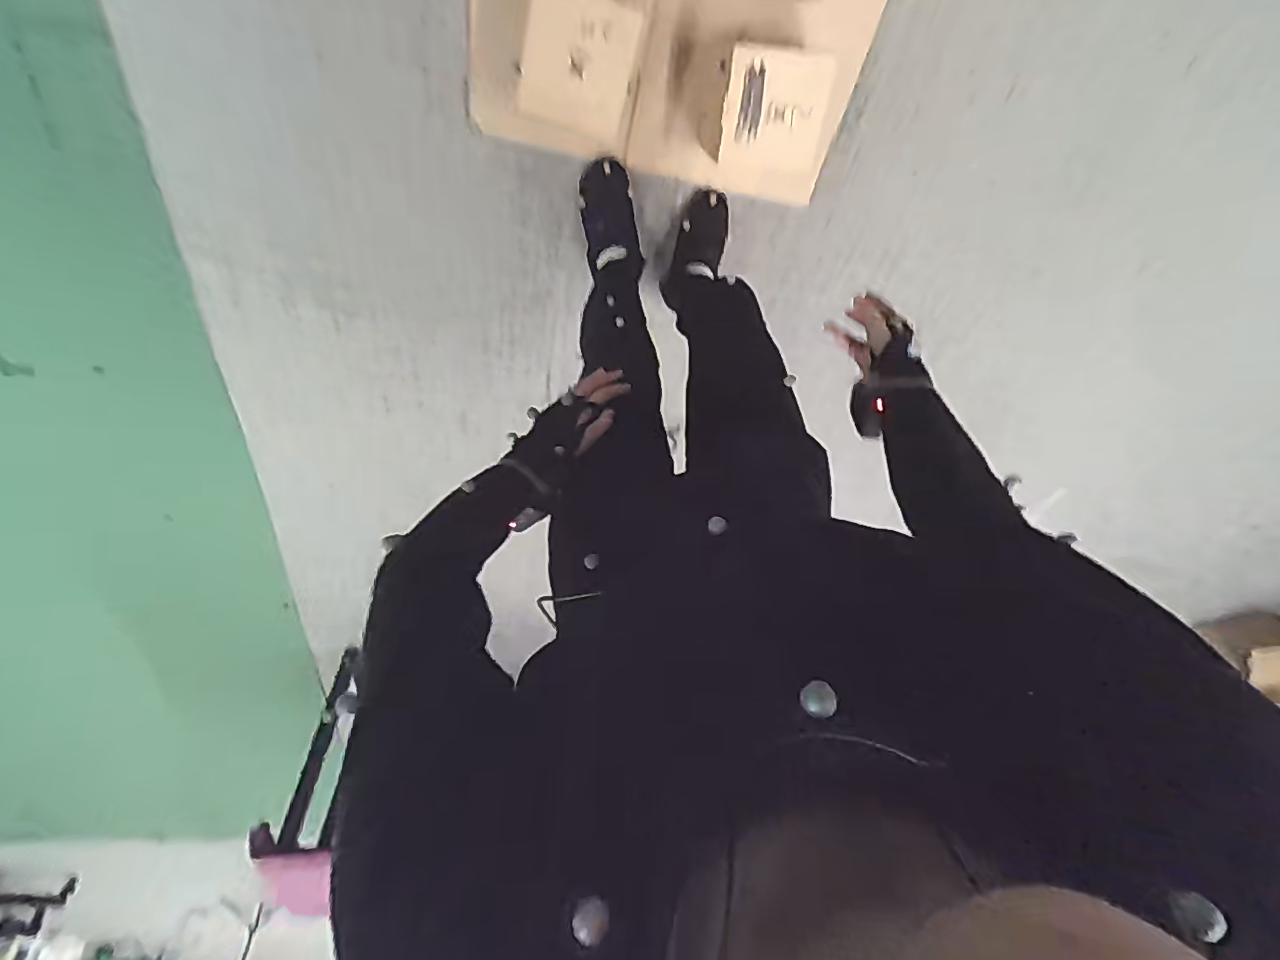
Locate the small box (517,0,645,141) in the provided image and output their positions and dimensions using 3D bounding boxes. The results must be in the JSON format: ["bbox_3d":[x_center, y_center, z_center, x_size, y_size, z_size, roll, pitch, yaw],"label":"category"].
[{"bbox_3d":[-0.100,-0.697,0.890,0.168,0.176,0.179,10,129,-16],"label":"small box"}]

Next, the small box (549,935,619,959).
[{"bbox_3d":[-0.166,1.478,1.606,0.179,0.176,0.168,-20,130,13],"label":"small box"}]
